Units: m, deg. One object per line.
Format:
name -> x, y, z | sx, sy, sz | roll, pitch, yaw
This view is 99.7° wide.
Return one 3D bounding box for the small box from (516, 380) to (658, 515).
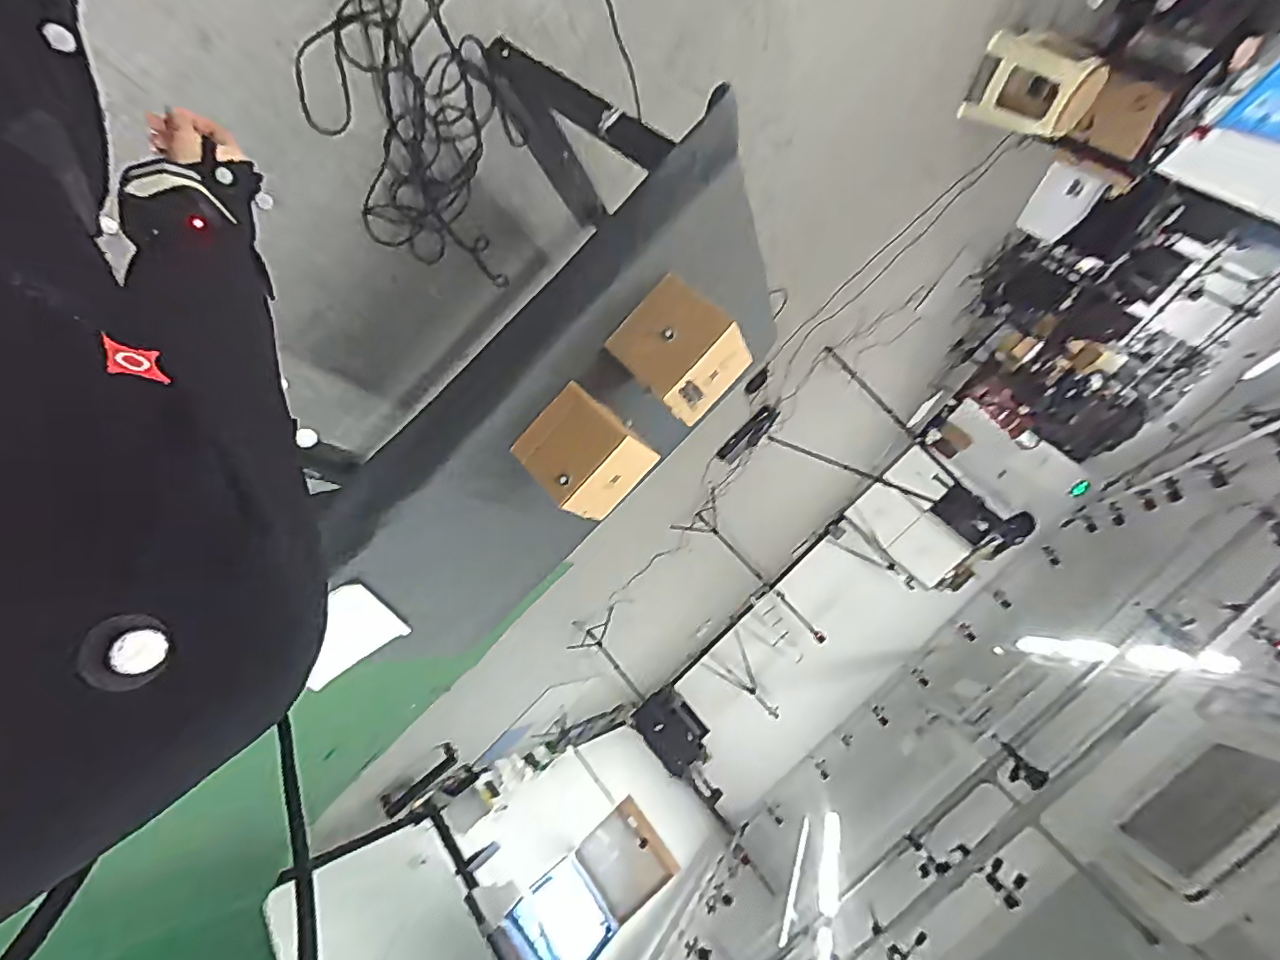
small box -> -0.102, -0.060, 1.033 | 0.179, 0.176, 0.168 | -46, 156, 8
